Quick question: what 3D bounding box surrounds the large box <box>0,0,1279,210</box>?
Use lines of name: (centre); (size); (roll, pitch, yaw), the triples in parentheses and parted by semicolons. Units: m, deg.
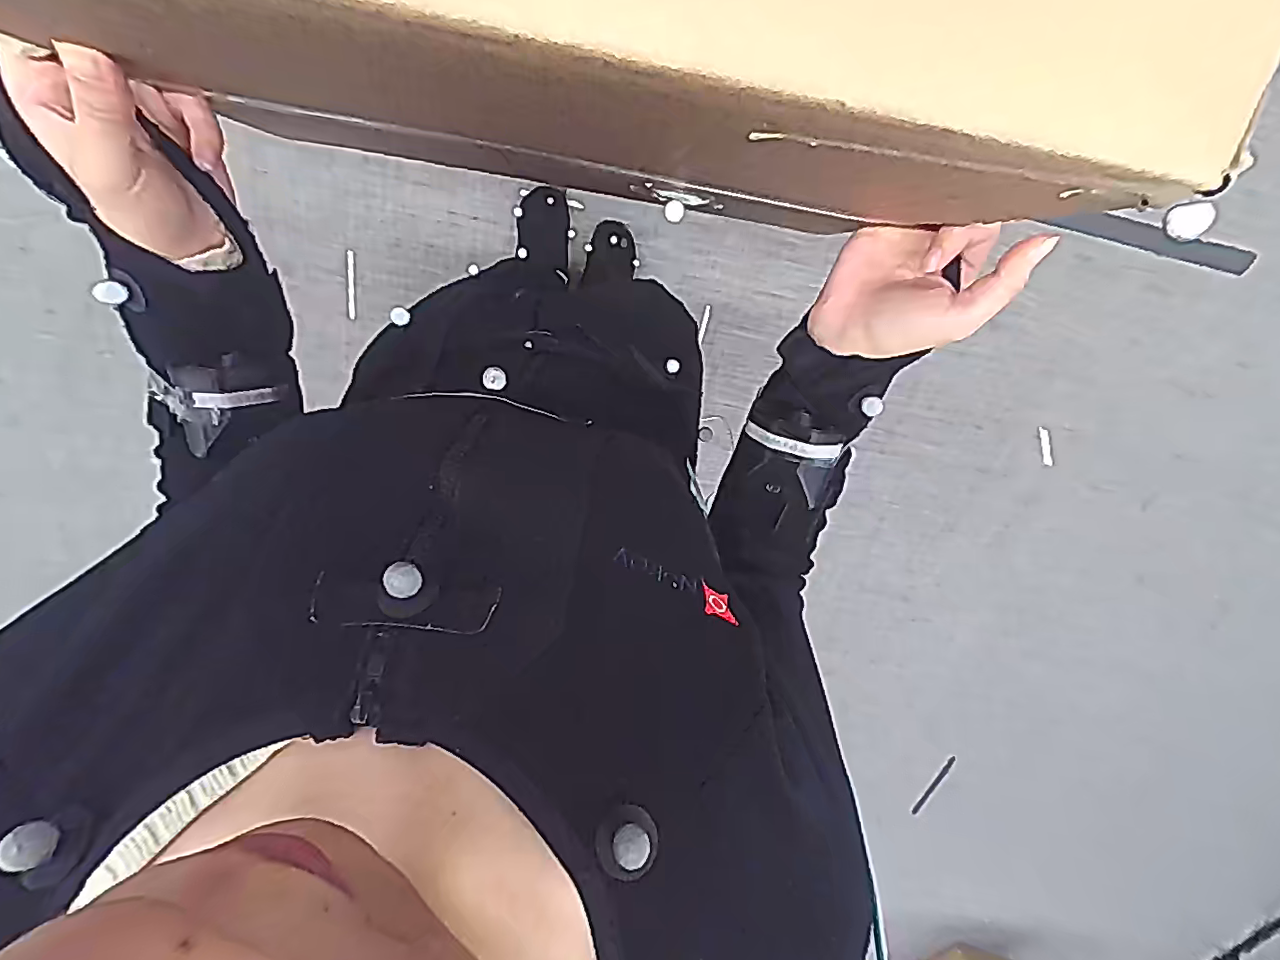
large box: (-0.015, -0.312, 0.206); (0.408, 0.320, 0.320); (5, 114, -8)
